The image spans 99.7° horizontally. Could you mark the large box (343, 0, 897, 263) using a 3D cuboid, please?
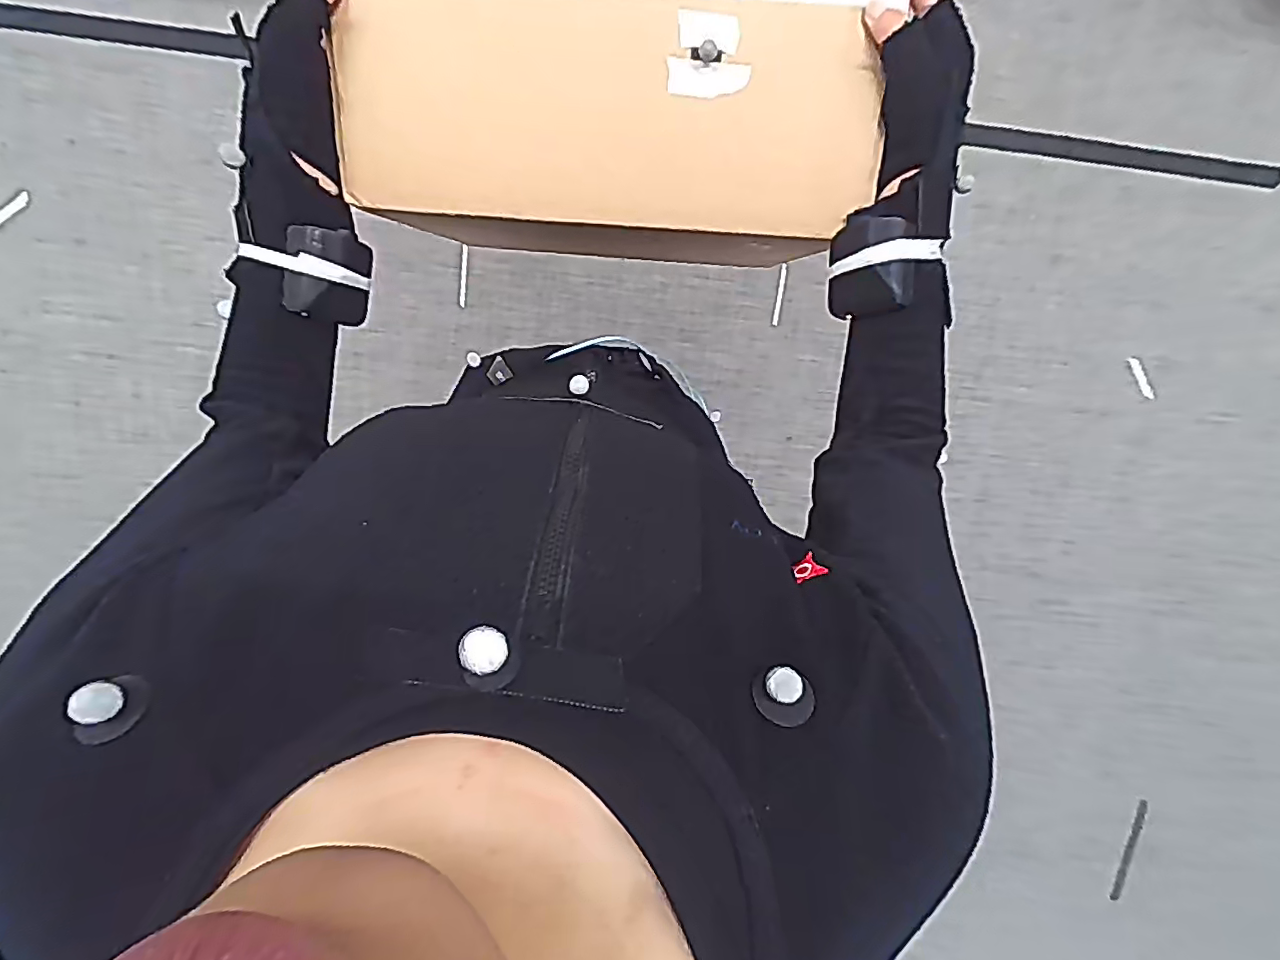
[{"bbox_3d":[-0.016,-0.396,0.527,0.408,0.320,0.320,3,109,-2],"label":"large box"}]
